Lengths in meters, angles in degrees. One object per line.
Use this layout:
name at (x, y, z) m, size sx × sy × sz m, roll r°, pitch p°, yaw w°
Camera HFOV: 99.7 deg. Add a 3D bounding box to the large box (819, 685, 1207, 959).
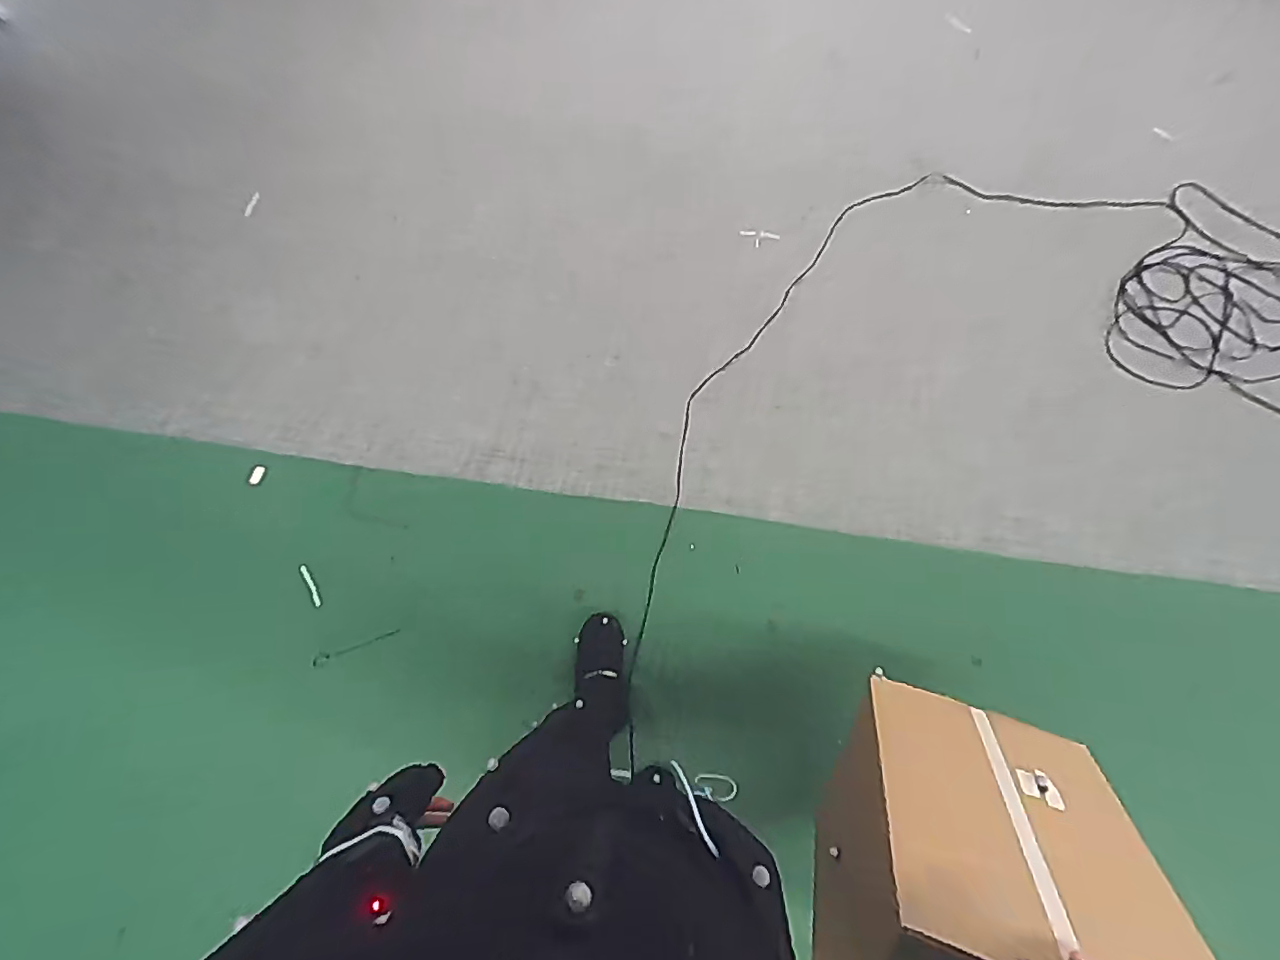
large box at (0.429, 0.560, 0.706) m, size 0.320 × 0.408 × 0.320 m, roll 17°, pitch 110°, yaw 14°
